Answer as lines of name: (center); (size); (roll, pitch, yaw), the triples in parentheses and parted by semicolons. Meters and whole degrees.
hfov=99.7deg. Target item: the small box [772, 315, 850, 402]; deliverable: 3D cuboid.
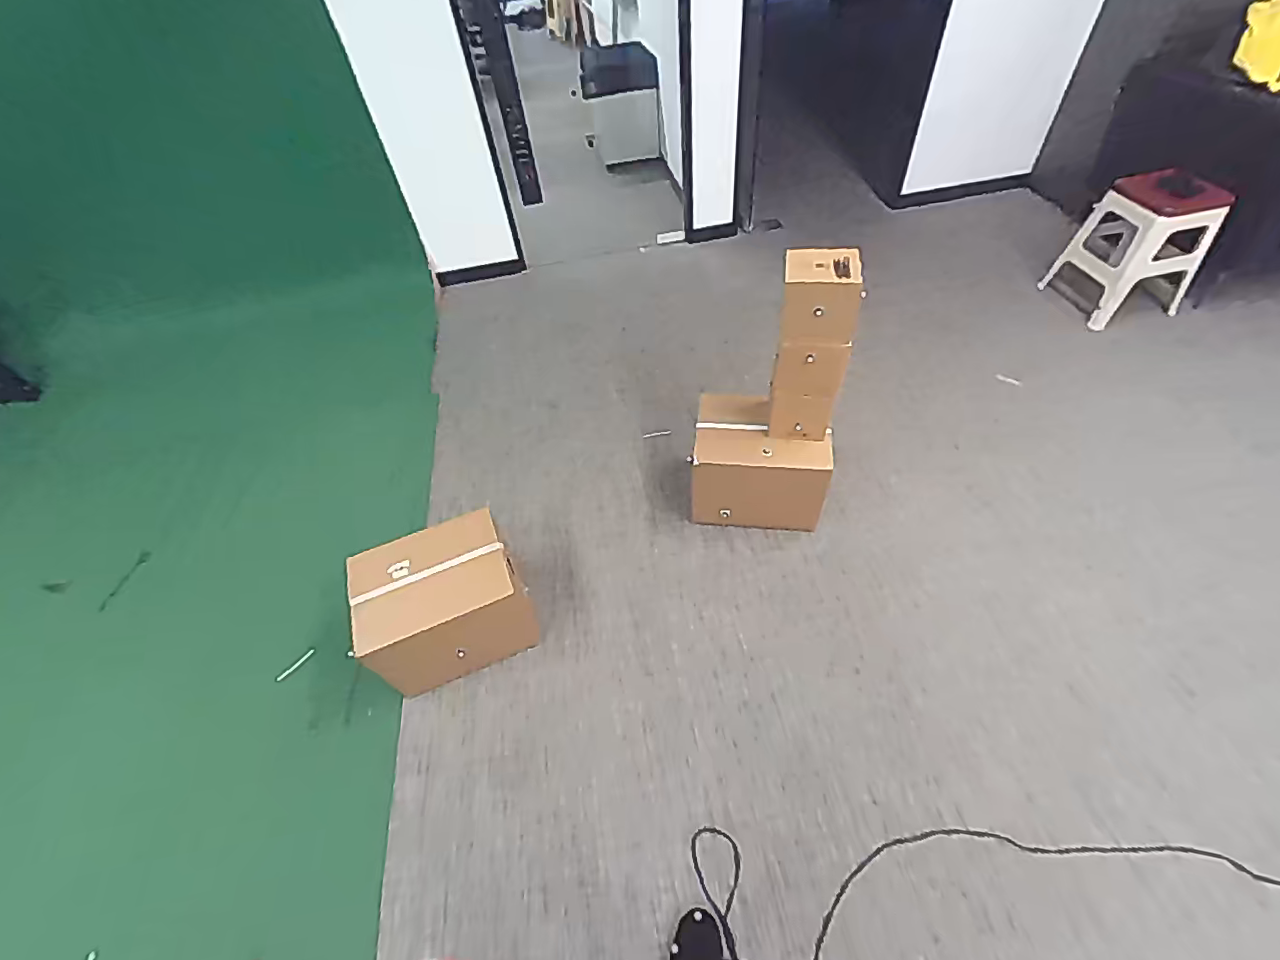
small box: (0.463, -0.330, 1.480); (0.179, 0.176, 0.168); (5, 49, 11)

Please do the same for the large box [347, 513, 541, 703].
large box: (-0.541, 0.363, 1.529); (0.408, 0.320, 0.320); (-22, 50, -11)

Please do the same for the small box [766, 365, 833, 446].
small box: (0.467, -0.223, 1.602); (0.168, 0.176, 0.179); (4, 49, 10)
